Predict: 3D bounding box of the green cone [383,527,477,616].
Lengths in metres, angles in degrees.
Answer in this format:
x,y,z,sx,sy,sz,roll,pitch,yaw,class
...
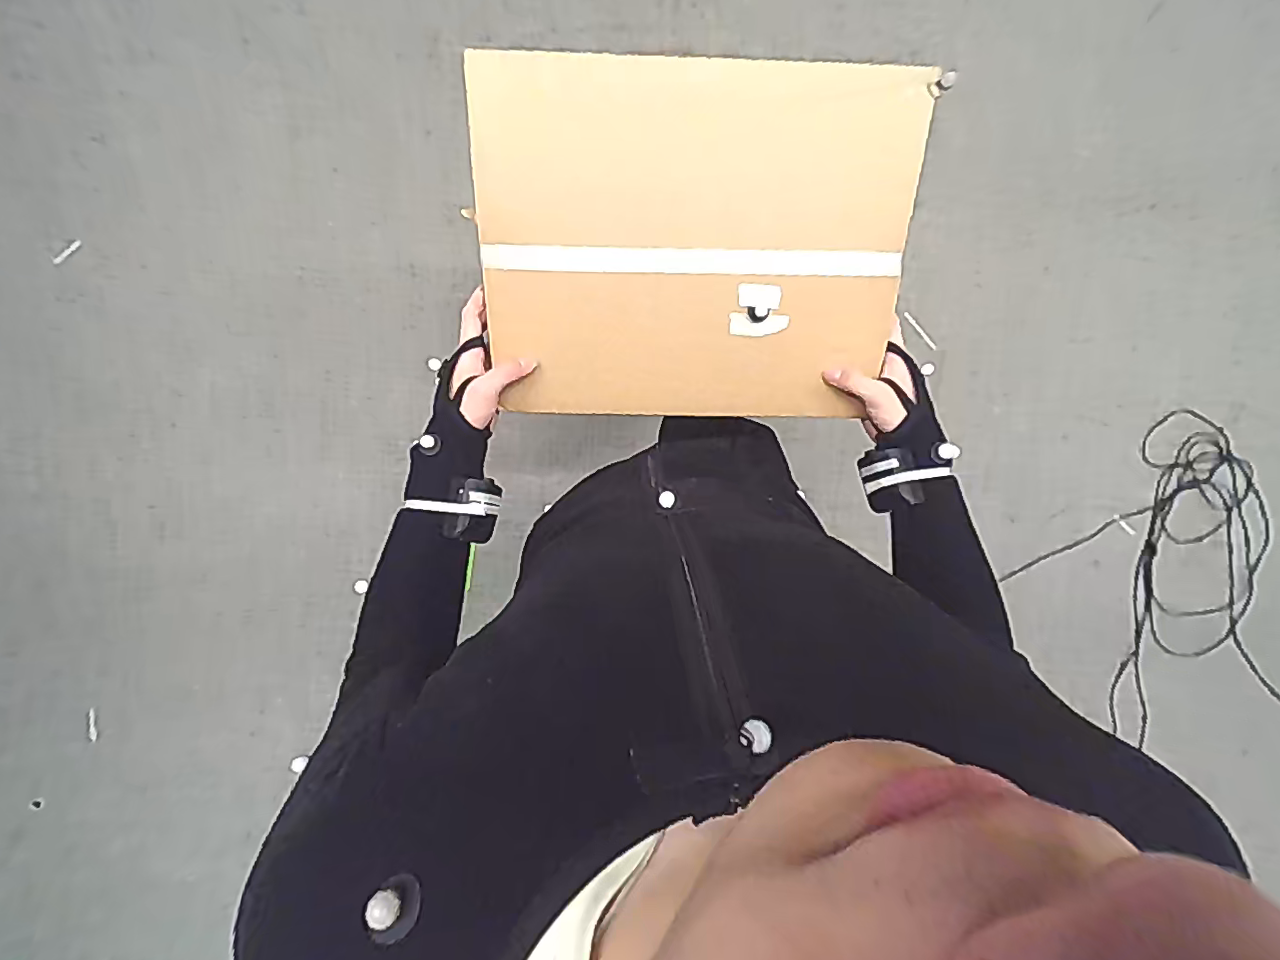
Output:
x,y,z,sx,sy,sz,roll,pitch,yaw,class
-0.592,0.270,1.449,0.200,0.368,0.202,8,98,-2,green cone

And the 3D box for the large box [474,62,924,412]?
x,y,z,sx,sy,sz,roll,pitch,yaw,class
0.047,-0.278,0.665,0.408,0.320,0.320,-1,115,-2,large box
